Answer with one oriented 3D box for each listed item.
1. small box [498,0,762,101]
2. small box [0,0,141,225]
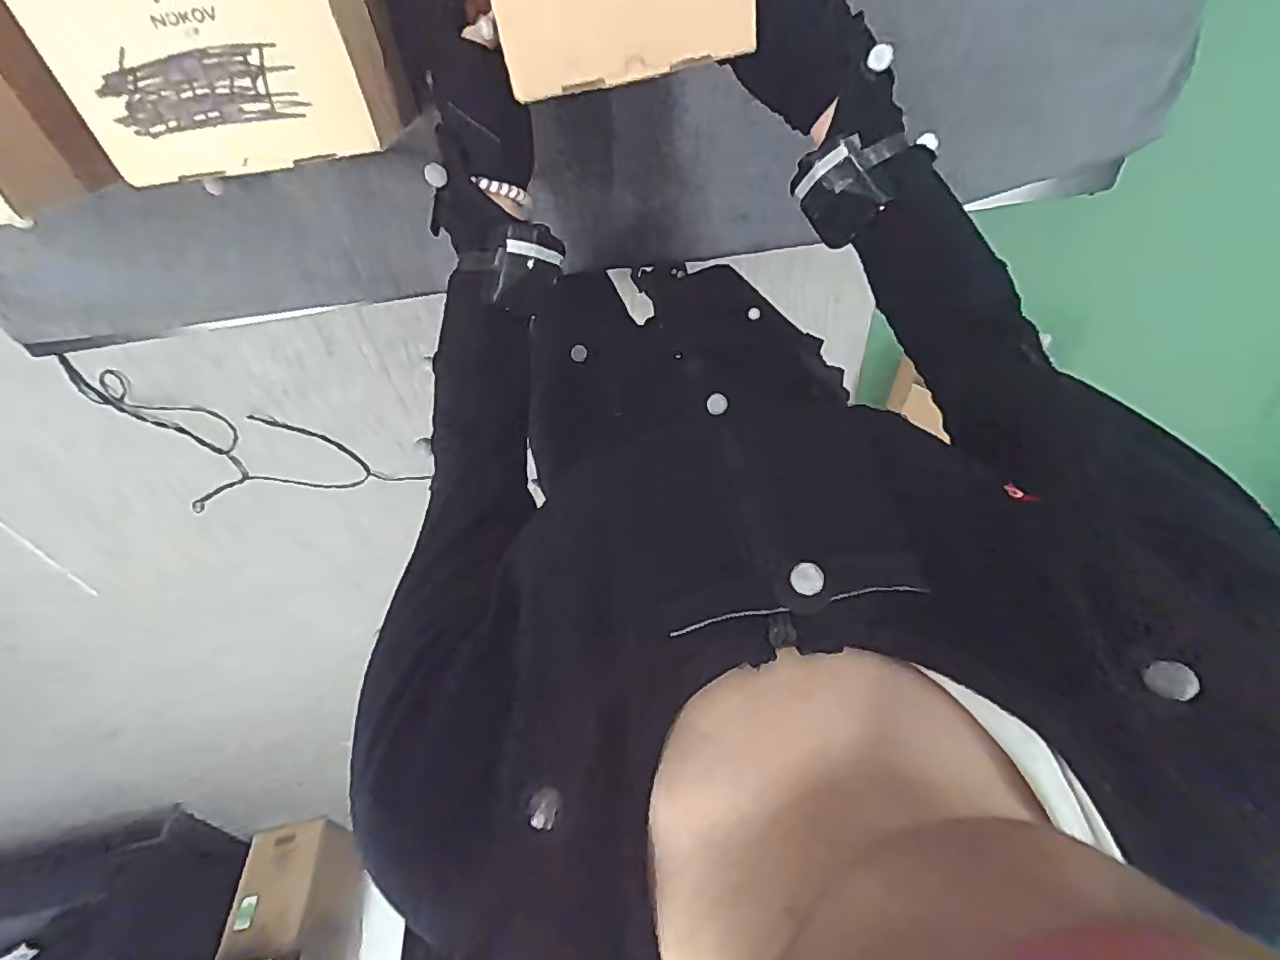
[{"bbox_3d":[-0.025,-0.383,0.362,0.168,0.176,0.179,-14,133,-1],"label":"small box"},{"bbox_3d":[-0.500,-0.265,0.350,0.168,0.176,0.179,-13,131,-3],"label":"small box"}]
